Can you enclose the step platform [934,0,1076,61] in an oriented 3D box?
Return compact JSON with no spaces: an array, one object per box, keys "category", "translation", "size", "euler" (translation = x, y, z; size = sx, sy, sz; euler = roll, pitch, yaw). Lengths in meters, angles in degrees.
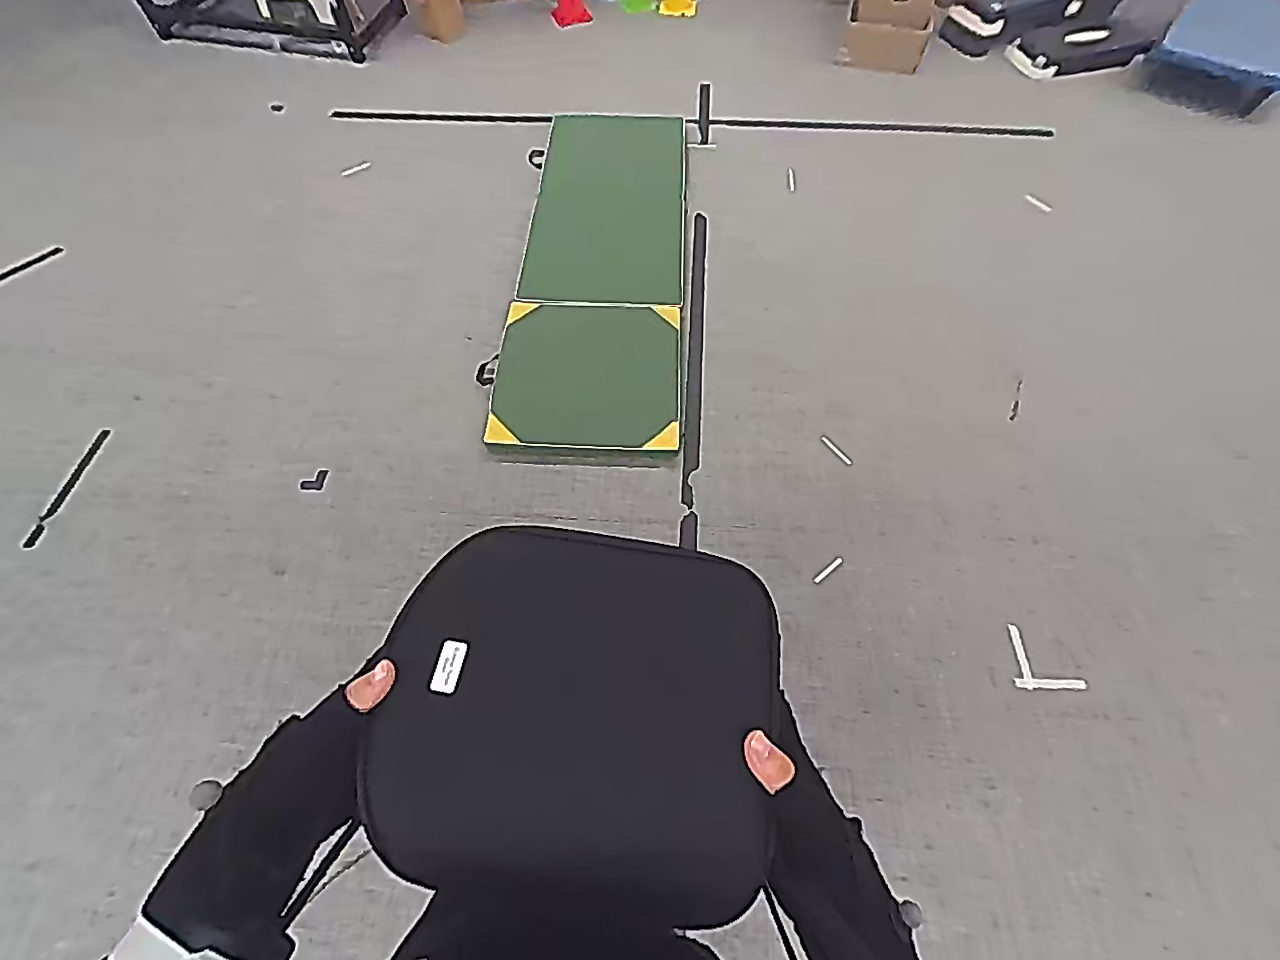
[{"category":"step platform","translation":[1.926,-2.438,2.840],"size":[0.684,0.204,0.286],"euler":[-23,64,-12]}]
